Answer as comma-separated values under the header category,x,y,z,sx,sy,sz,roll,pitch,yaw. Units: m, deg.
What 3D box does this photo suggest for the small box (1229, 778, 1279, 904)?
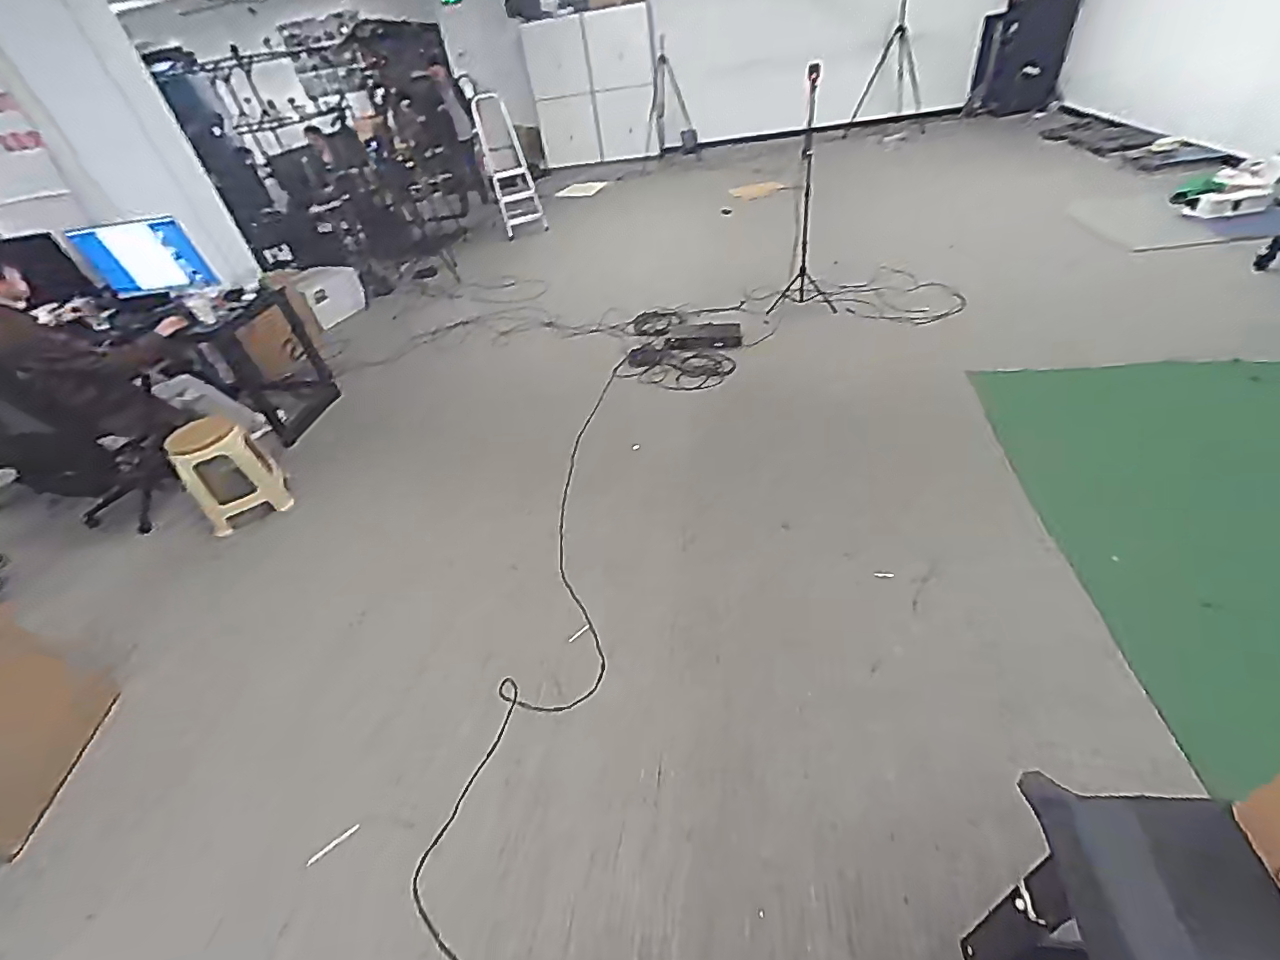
category,x,y,z,sx,sy,sz,roll,pitch,yaw
small box,0.810,0.423,0.566,0.168,0.176,0.179,0,41,9
